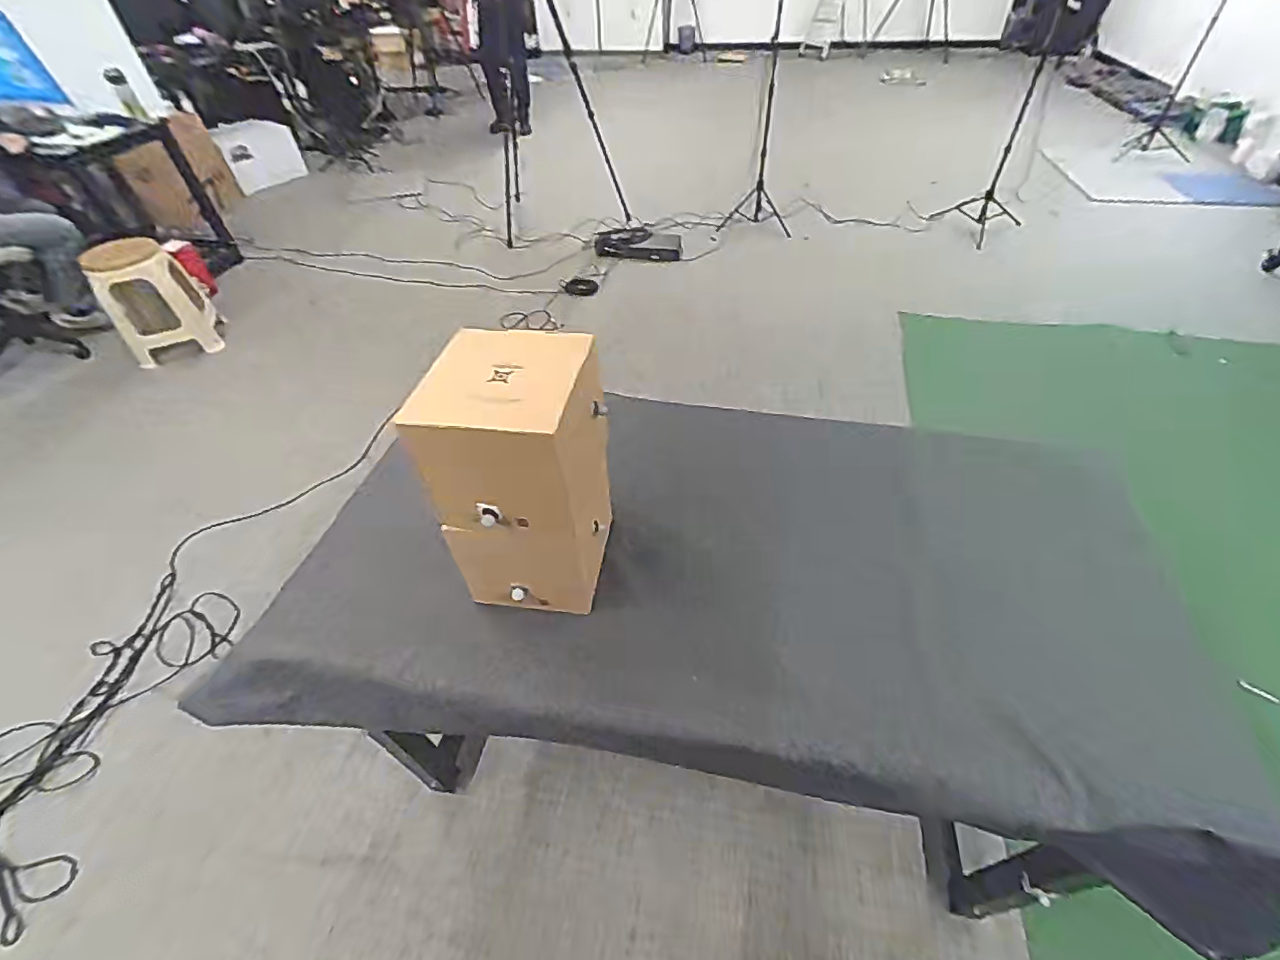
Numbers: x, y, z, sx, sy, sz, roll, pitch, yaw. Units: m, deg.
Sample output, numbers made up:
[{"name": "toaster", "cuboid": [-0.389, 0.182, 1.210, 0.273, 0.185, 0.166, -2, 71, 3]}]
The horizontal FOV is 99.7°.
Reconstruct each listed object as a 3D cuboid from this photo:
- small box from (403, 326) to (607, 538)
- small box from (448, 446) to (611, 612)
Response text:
[{"name": "small box", "cuboid": [-0.136, -0.057, 0.628, 0.168, 0.176, 0.179, 4, 47, 8]}, {"name": "small box", "cuboid": [-0.136, 0.056, 0.745, 0.168, 0.176, 0.179, 5, 47, 7]}]
